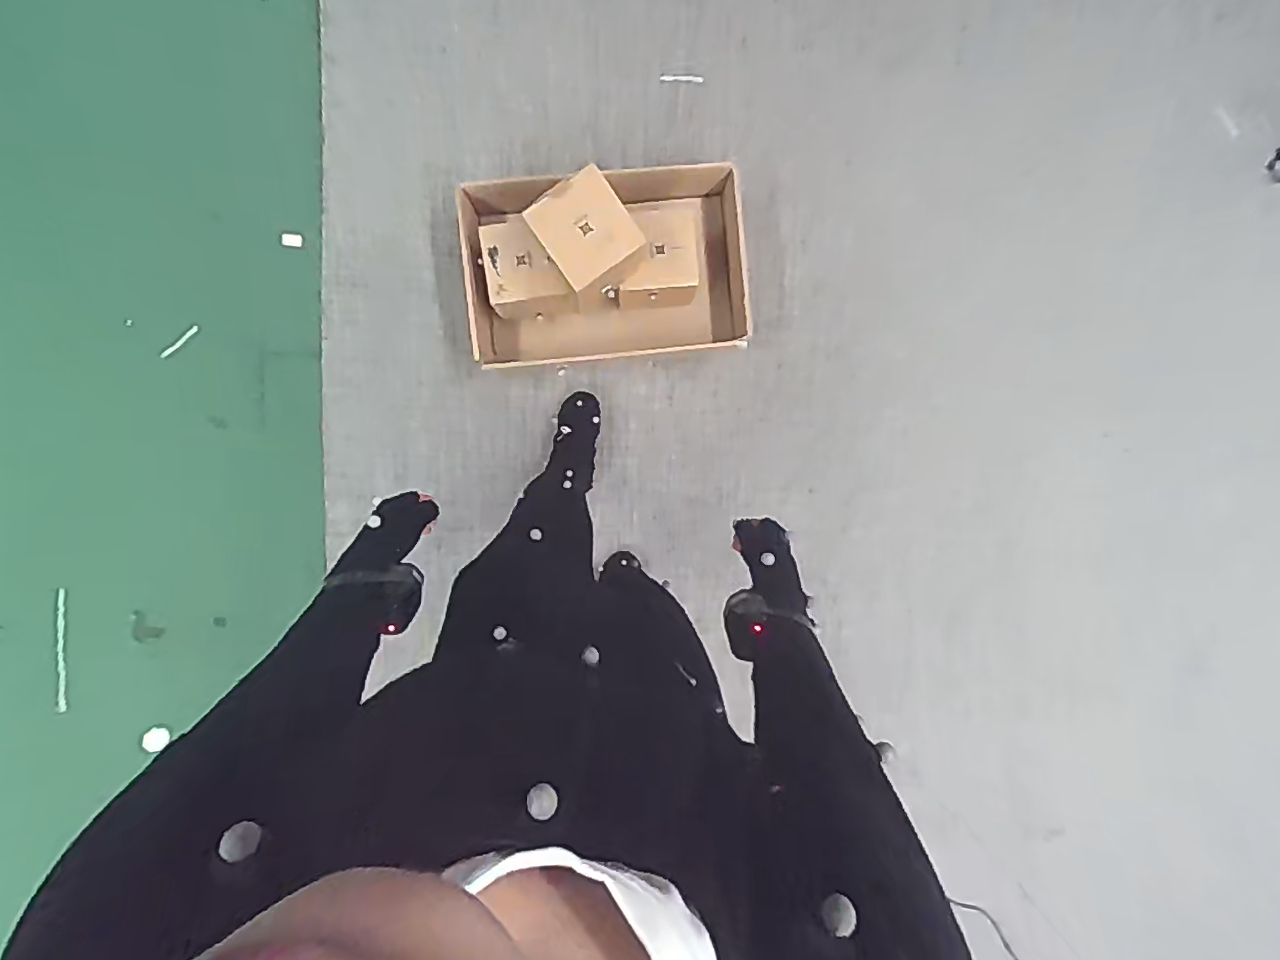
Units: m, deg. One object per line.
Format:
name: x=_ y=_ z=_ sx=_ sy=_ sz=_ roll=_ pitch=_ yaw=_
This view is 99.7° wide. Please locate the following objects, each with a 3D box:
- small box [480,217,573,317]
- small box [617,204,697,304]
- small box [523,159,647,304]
small box: x=-0.249 y=-0.481 z=1.232 sx=0.179 sy=0.176 sz=0.168 roll=-9 pitch=93 yaw=-4
small box: x=0.030 y=-0.509 z=1.242 sx=0.179 sy=0.176 sz=0.168 roll=-5 pitch=94 yaw=-1
small box: x=-0.106 y=-0.481 z=1.077 sx=0.168 sy=0.176 sz=0.179 roll=-36 pitch=96 yaw=1
